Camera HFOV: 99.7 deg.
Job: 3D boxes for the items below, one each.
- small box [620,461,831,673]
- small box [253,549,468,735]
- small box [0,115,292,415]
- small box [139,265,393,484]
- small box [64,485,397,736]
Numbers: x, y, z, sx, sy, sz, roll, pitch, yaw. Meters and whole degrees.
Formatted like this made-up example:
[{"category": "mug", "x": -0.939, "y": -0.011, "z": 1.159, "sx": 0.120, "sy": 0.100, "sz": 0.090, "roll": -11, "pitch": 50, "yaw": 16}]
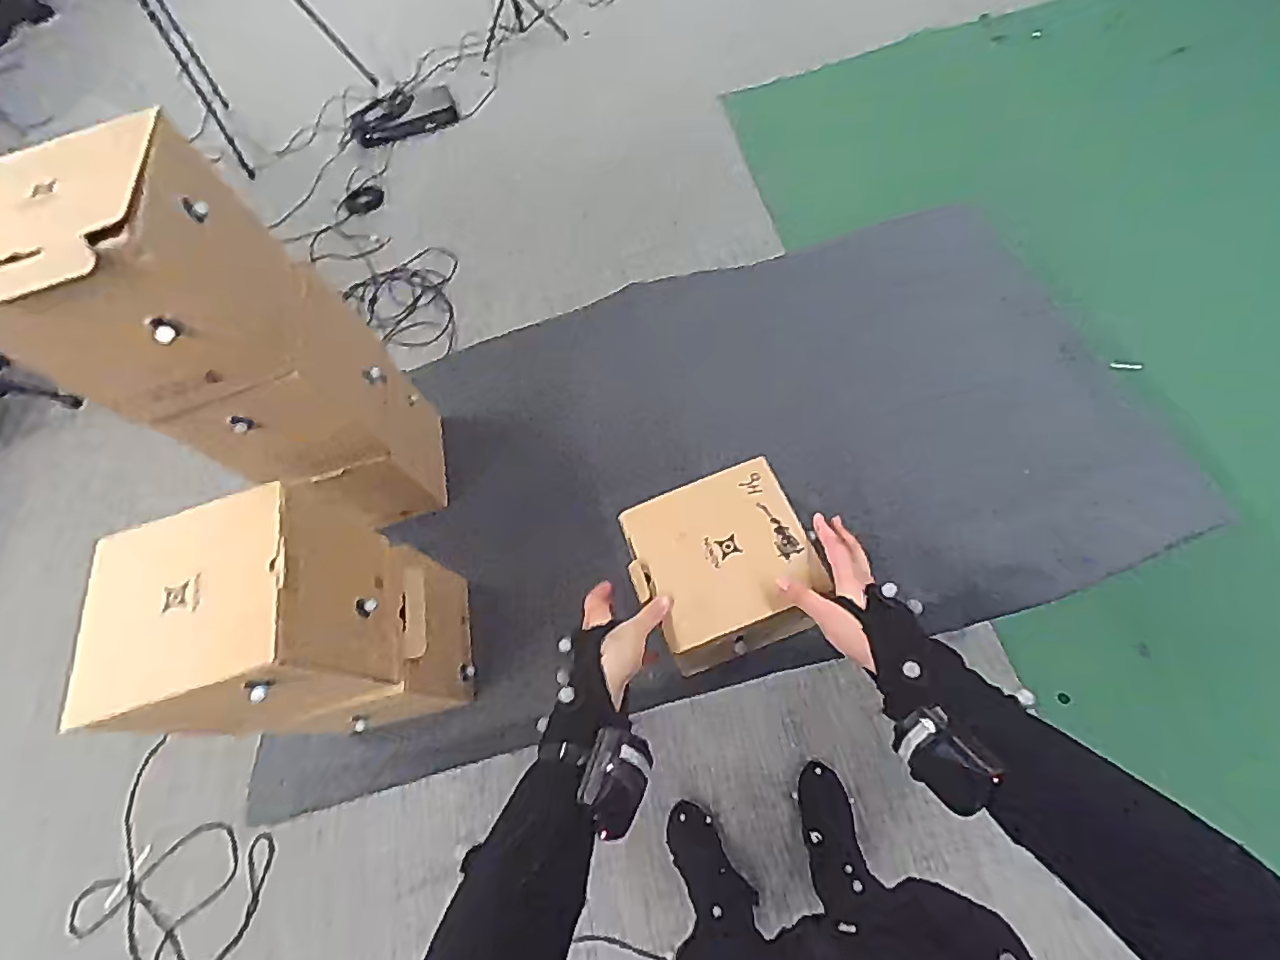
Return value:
[{"category": "small box", "x": 0.097, "y": 0.111, "z": 0.629, "sx": 0.179, "sy": 0.176, "sz": 0.168, "roll": -22, "pitch": 62, "yaw": 0}, {"category": "small box", "x": -0.321, "y": 0.202, "z": 0.657, "sx": 0.179, "sy": 0.176, "sz": 0.168, "roll": -15, "pitch": 63, "yaw": 3}, {"category": "small box", "x": -0.452, "y": -0.180, "z": 0.496, "sx": 0.168, "sy": 0.176, "sz": 0.179, "roll": -19, "pitch": 62, "yaw": -1}, {"category": "small box", "x": -0.420, "y": -0.113, "z": 0.641, "sx": 0.179, "sy": 0.176, "sz": 0.168, "roll": -16, "pitch": 64, "yaw": 2}, {"category": "small box", "x": -0.362, "y": 0.134, "z": 0.514, "sx": 0.179, "sy": 0.176, "sz": 0.168, "roll": -19, "pitch": 63, "yaw": 0}]
